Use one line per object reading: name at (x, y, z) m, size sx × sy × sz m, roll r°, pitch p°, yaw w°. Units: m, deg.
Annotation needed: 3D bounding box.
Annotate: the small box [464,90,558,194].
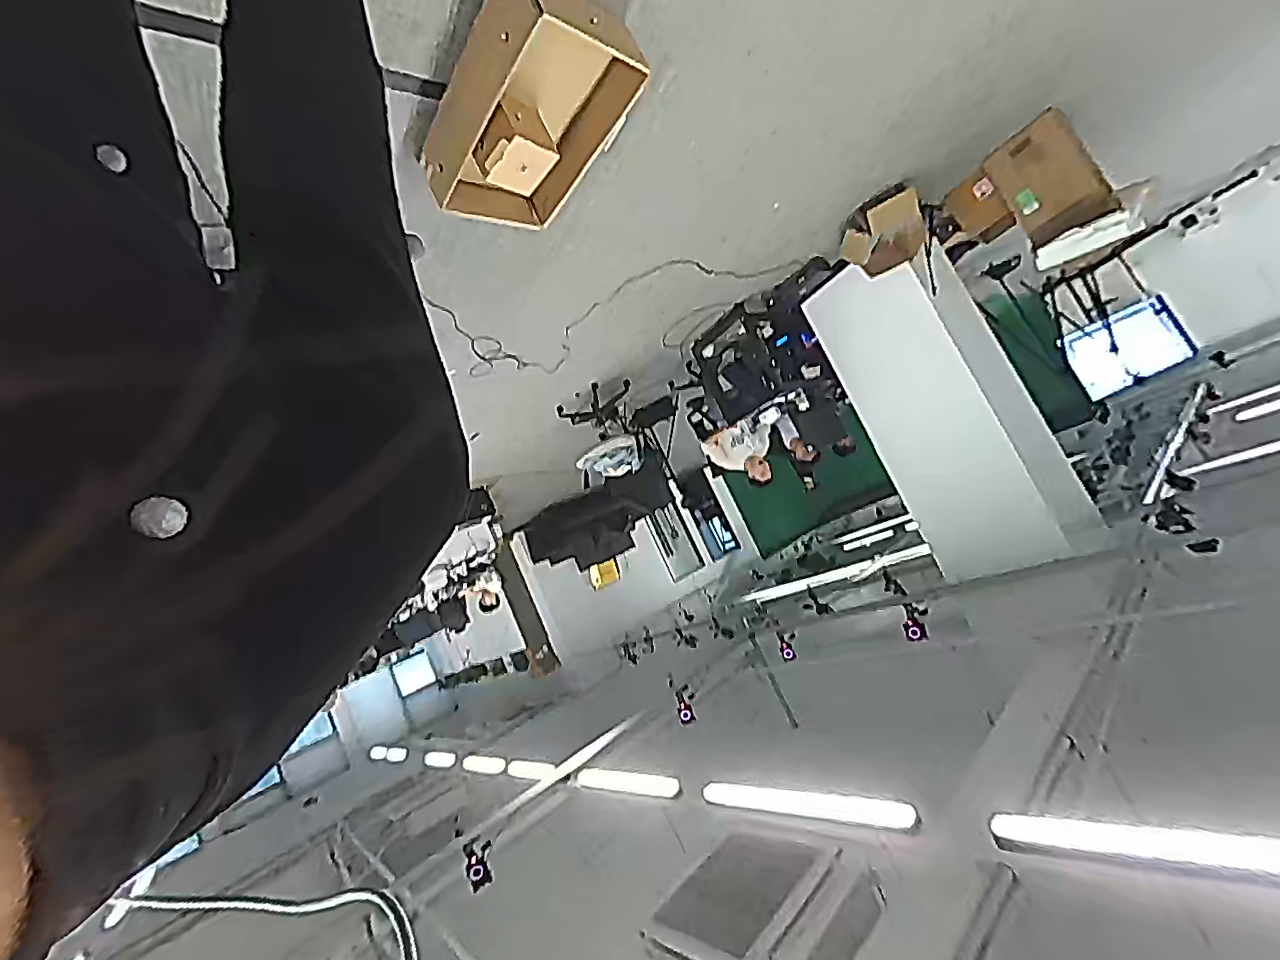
small box at (-0.376, -0.974, 1.560) m, size 0.168 × 0.176 × 0.179 m, roll -31°, pitch 170°, yaw 35°
